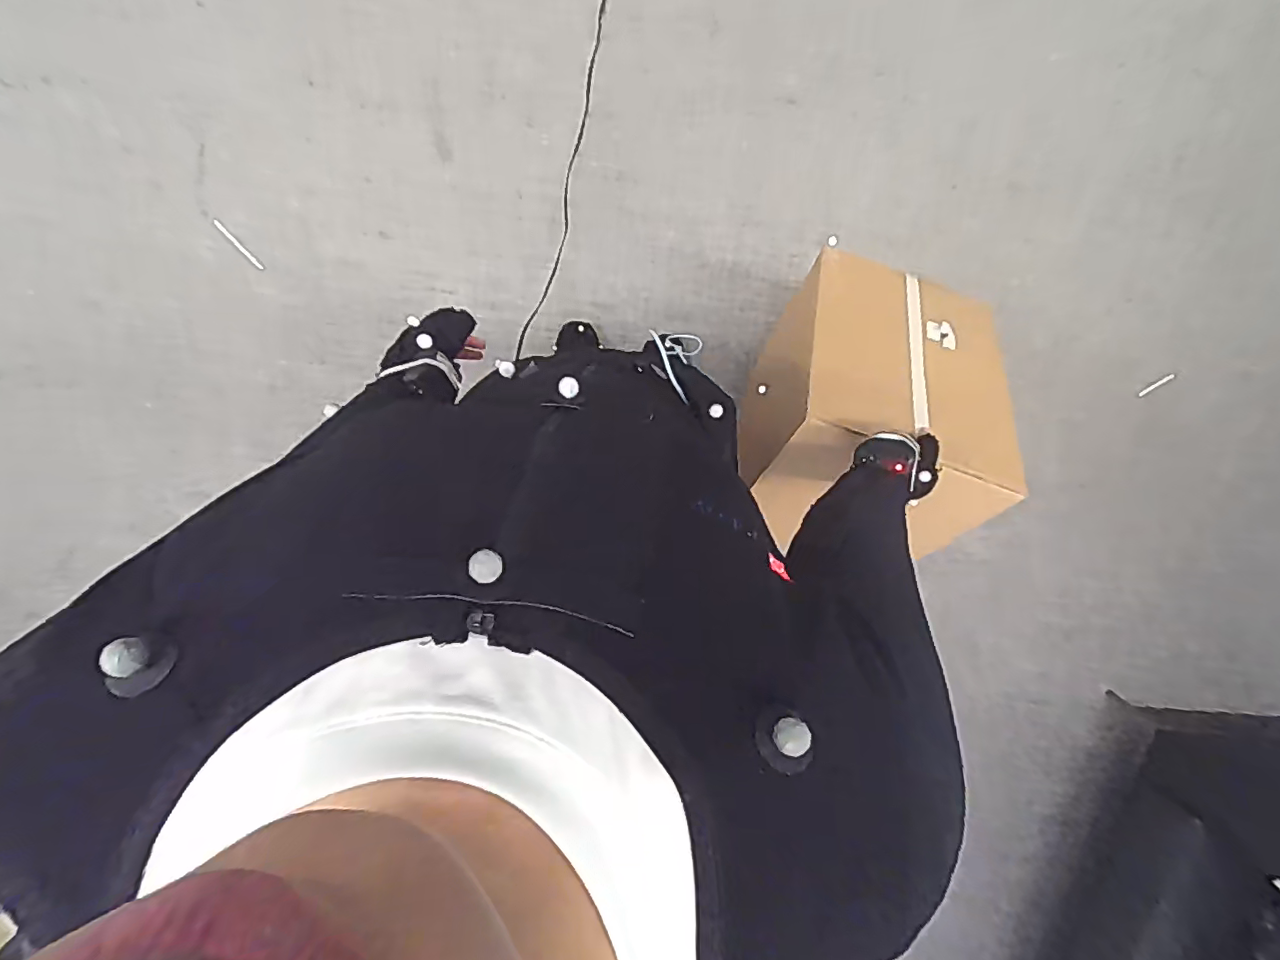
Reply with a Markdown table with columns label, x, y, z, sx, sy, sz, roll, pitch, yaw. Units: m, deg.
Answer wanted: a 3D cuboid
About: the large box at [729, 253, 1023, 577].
| label | x | y | z | sx | sy | sz | roll | pitch | yaw |
| --- | --- | --- | --- | --- | --- | --- | --- | --- | --- |
| large box | 0.370 | -0.103 | 0.932 | 0.320 | 0.408 | 0.320 | 20 | 145 | -4 |
